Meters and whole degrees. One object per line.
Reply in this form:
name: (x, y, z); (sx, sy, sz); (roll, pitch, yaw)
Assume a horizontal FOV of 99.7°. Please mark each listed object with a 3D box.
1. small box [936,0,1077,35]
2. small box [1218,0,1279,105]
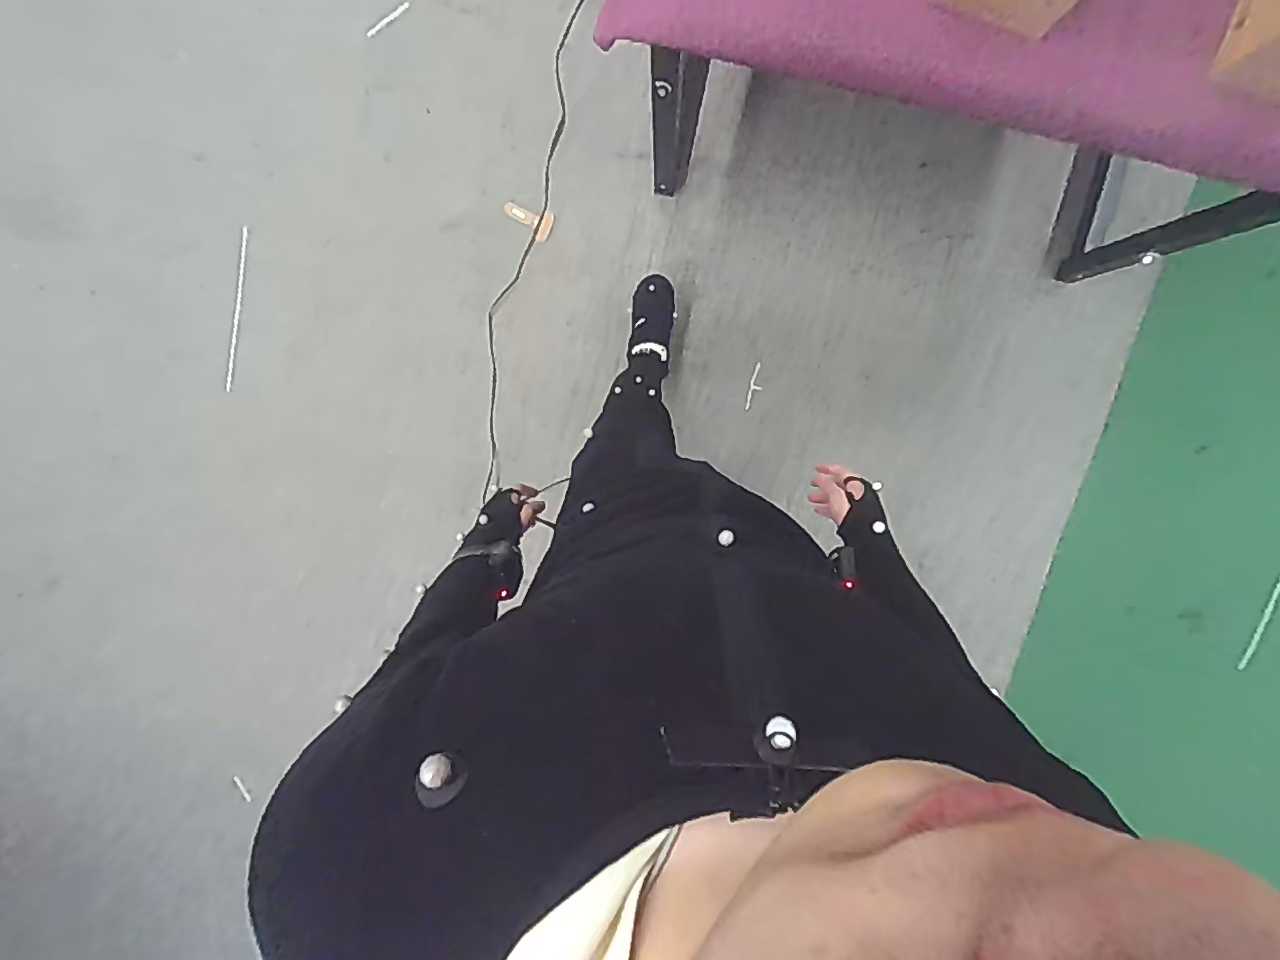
small box: (0.508, -0.711, 0.671); (0.179, 0.176, 0.168); (22, 97, 0)
small box: (0.902, -0.597, 0.669); (0.179, 0.176, 0.168); (19, 97, 1)
